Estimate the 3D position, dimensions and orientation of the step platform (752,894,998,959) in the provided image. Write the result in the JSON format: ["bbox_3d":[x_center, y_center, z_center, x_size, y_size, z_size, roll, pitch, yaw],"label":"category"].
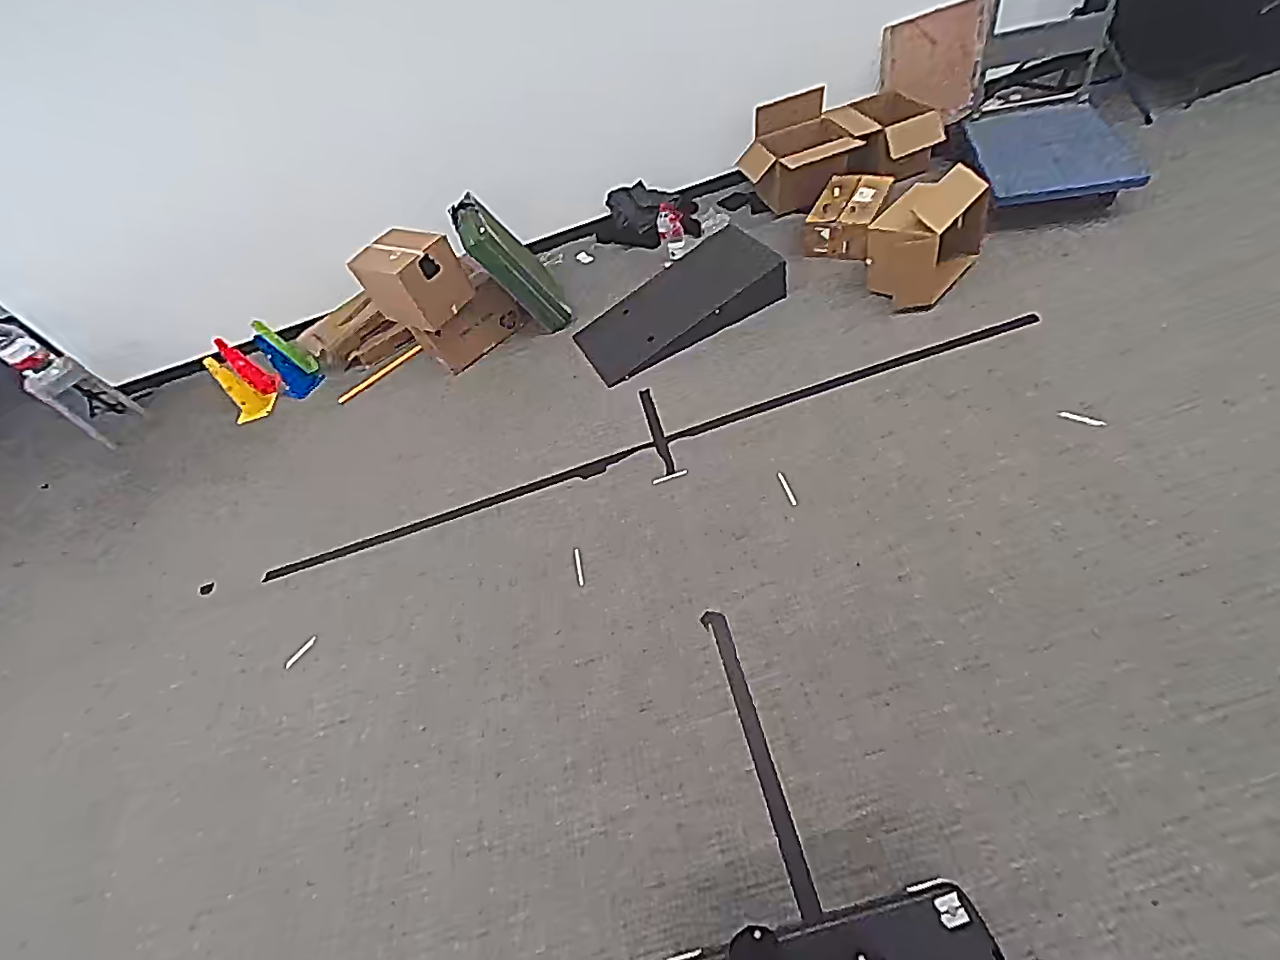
[{"bbox_3d":[0.382,1.073,1.053,0.684,0.204,0.286,-19,51,1],"label":"step platform"}]
